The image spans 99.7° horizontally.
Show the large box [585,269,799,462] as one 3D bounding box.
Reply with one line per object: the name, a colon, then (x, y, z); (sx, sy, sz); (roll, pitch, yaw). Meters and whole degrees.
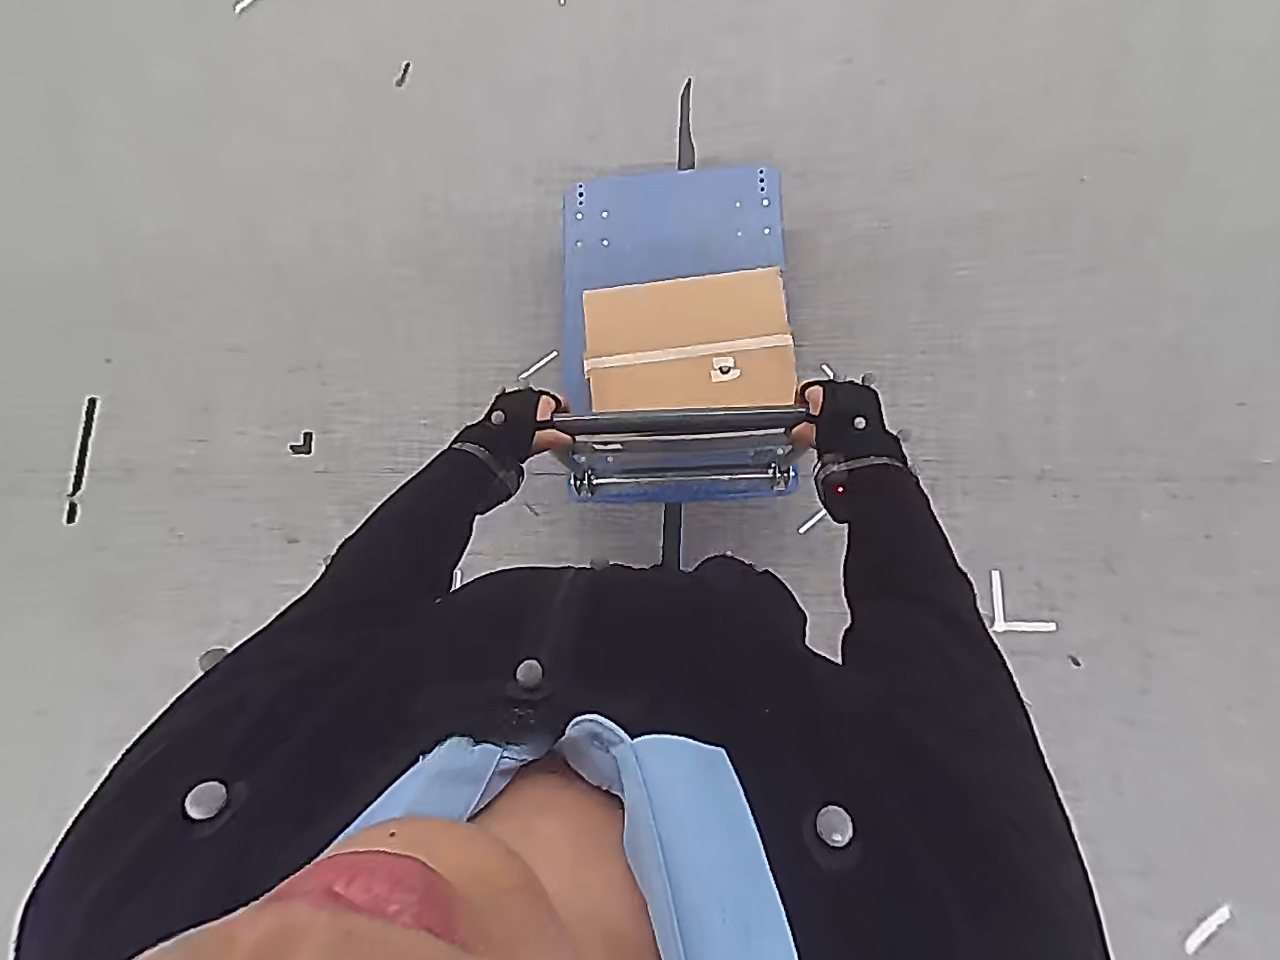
large box: (0.106, -0.236, 1.229); (0.408, 0.320, 0.320); (-6, 83, 2)
